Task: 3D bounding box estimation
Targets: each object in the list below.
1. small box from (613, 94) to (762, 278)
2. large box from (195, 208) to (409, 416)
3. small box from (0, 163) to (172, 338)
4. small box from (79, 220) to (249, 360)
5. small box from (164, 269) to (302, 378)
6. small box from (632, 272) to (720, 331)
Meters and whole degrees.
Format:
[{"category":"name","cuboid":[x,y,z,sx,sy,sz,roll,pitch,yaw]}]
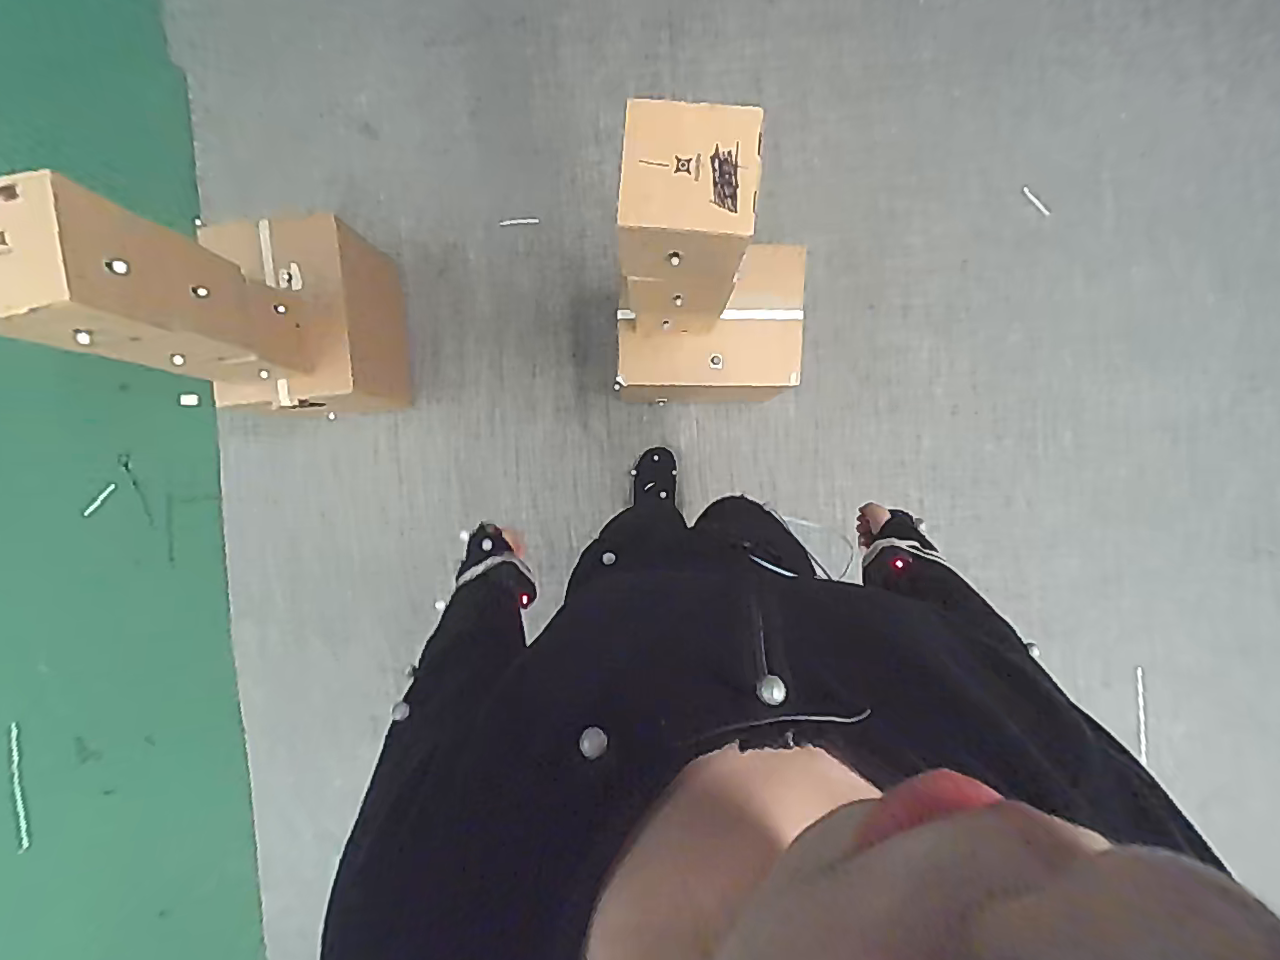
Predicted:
[{"category":"small box","cuboid":[0.061,-0.398,0.762,0.179,0.176,0.168,5,90,1]},{"category":"large box","cuboid":[-0.804,-0.386,1.335,0.320,0.320,0.408,-5,91,0]},{"category":"small box","cuboid":[-0.815,-0.307,0.765,0.168,0.176,0.179,-8,92,0]},{"category":"small box","cuboid":[-0.816,-0.312,0.930,0.168,0.176,0.179,-11,90,0]},{"category":"small box","cuboid":[-0.816,-0.308,1.093,0.179,0.176,0.168,-7,91,1]},{"category":"small box","cuboid":[0.071,-0.406,1.091,0.168,0.176,0.179,1,90,0]}]
